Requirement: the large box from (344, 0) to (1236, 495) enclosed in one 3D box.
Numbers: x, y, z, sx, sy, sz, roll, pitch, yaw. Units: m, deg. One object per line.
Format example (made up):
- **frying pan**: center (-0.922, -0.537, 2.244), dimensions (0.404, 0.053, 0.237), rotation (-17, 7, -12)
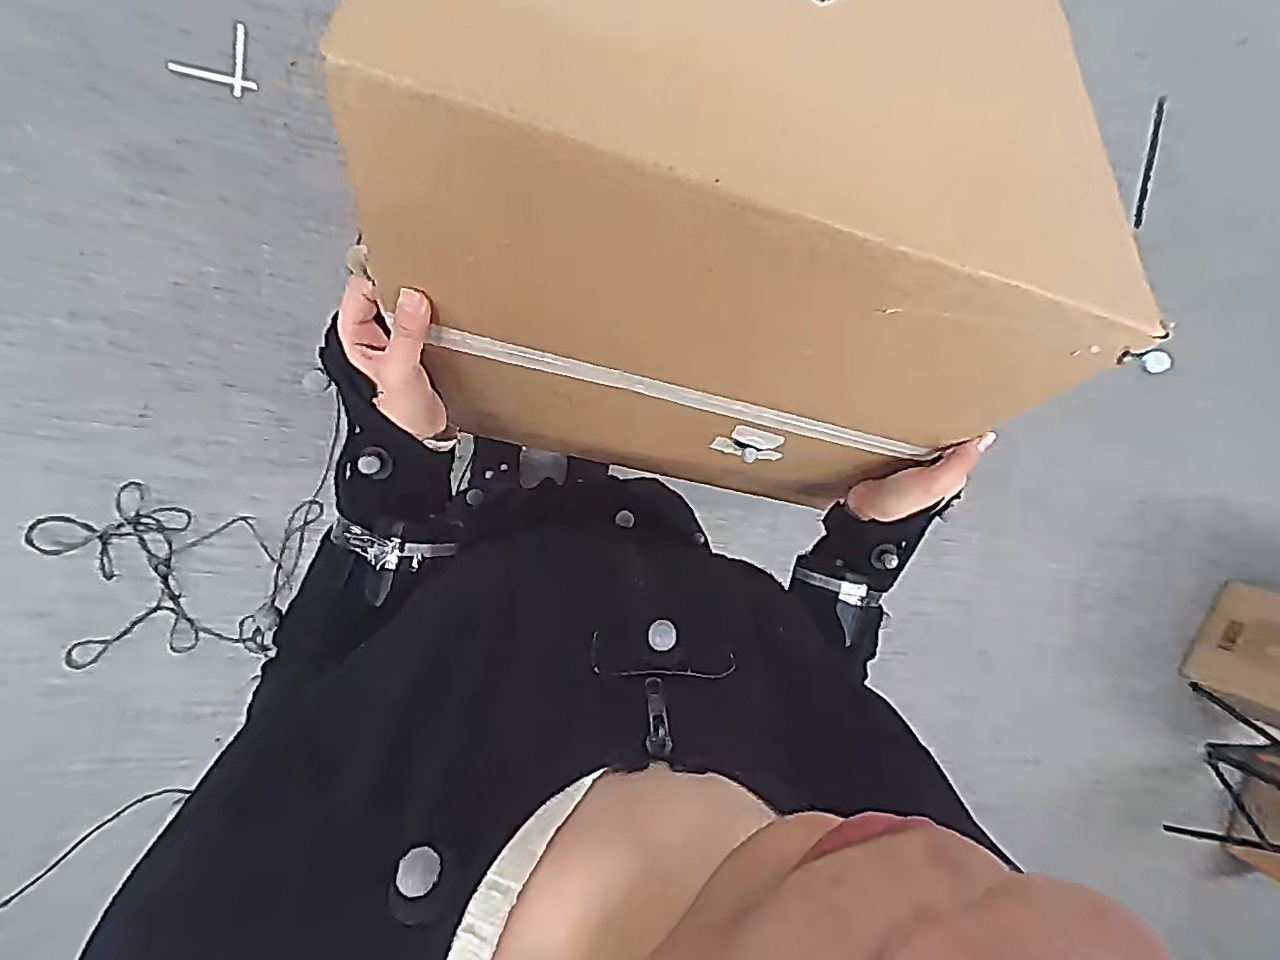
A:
- **large box**: center (0.067, -0.211, 0.407), dimensions (0.408, 0.320, 0.320), rotation (11, 68, -12)
